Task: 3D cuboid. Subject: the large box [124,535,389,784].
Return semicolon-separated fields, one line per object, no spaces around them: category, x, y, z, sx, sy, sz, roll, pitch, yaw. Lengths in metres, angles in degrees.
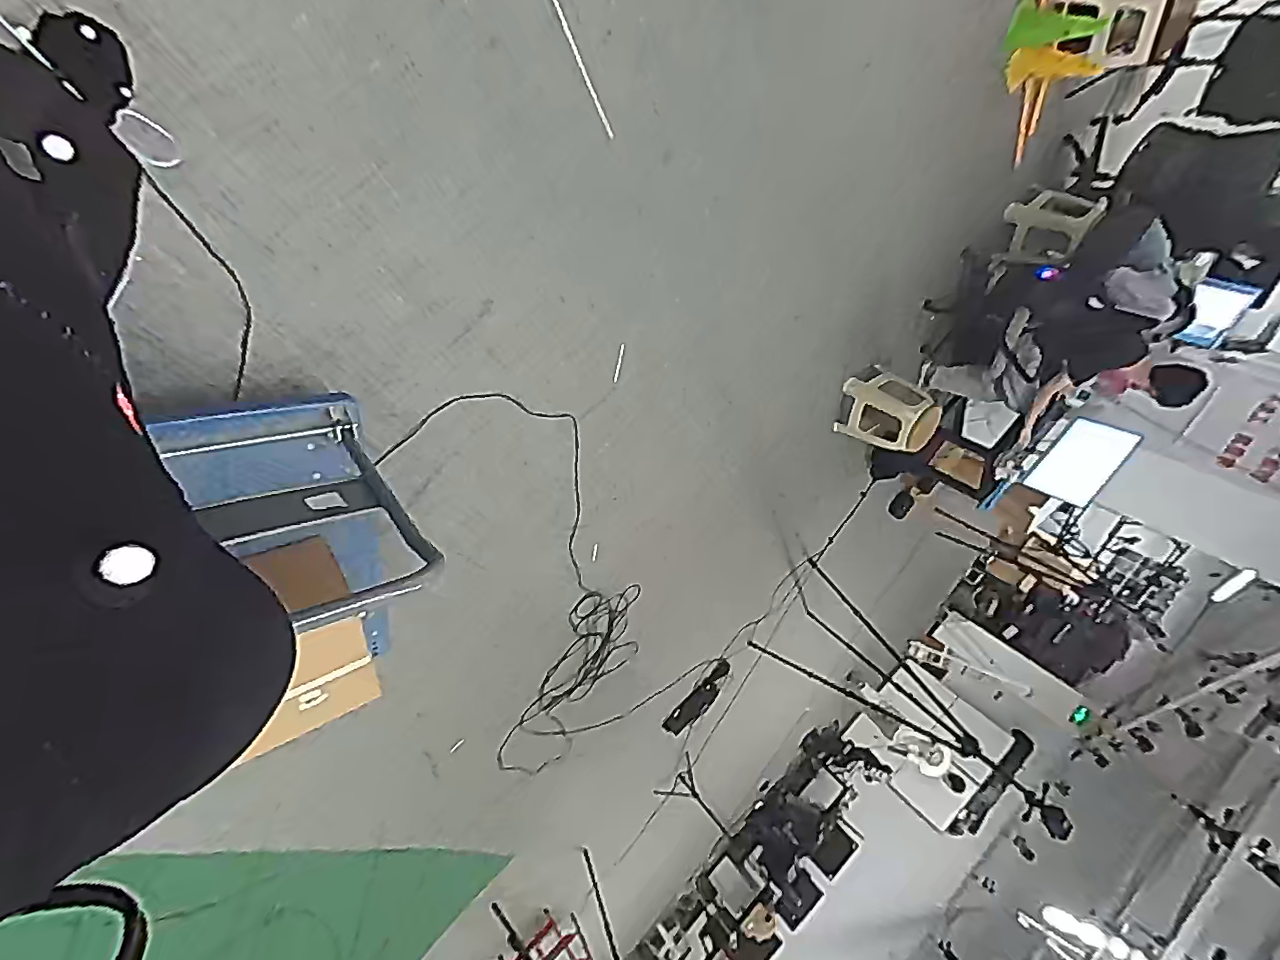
large box;-0.869;0.389;1.257;0.408;0.320;0.320;-22;134;-34
